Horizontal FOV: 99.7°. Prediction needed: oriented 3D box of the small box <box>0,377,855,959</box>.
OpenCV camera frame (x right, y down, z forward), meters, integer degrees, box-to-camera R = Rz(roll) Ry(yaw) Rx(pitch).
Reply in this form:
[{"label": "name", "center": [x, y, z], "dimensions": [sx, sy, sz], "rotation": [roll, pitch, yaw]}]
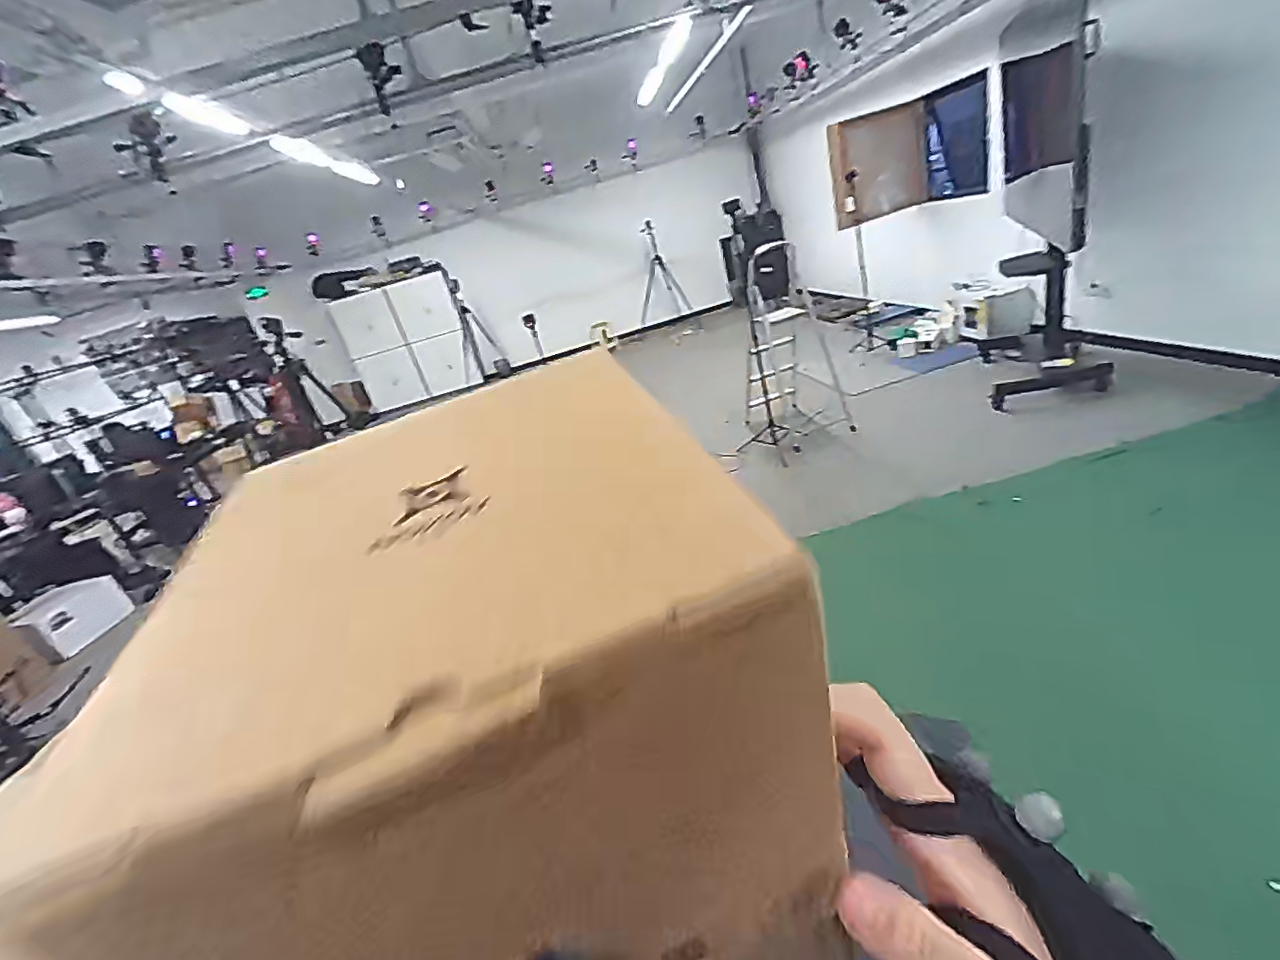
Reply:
[{"label": "small box", "center": [-0.043, 0.088, 0.205], "dimensions": [0.168, 0.176, 0.179], "rotation": [-22, 35, -8]}]
